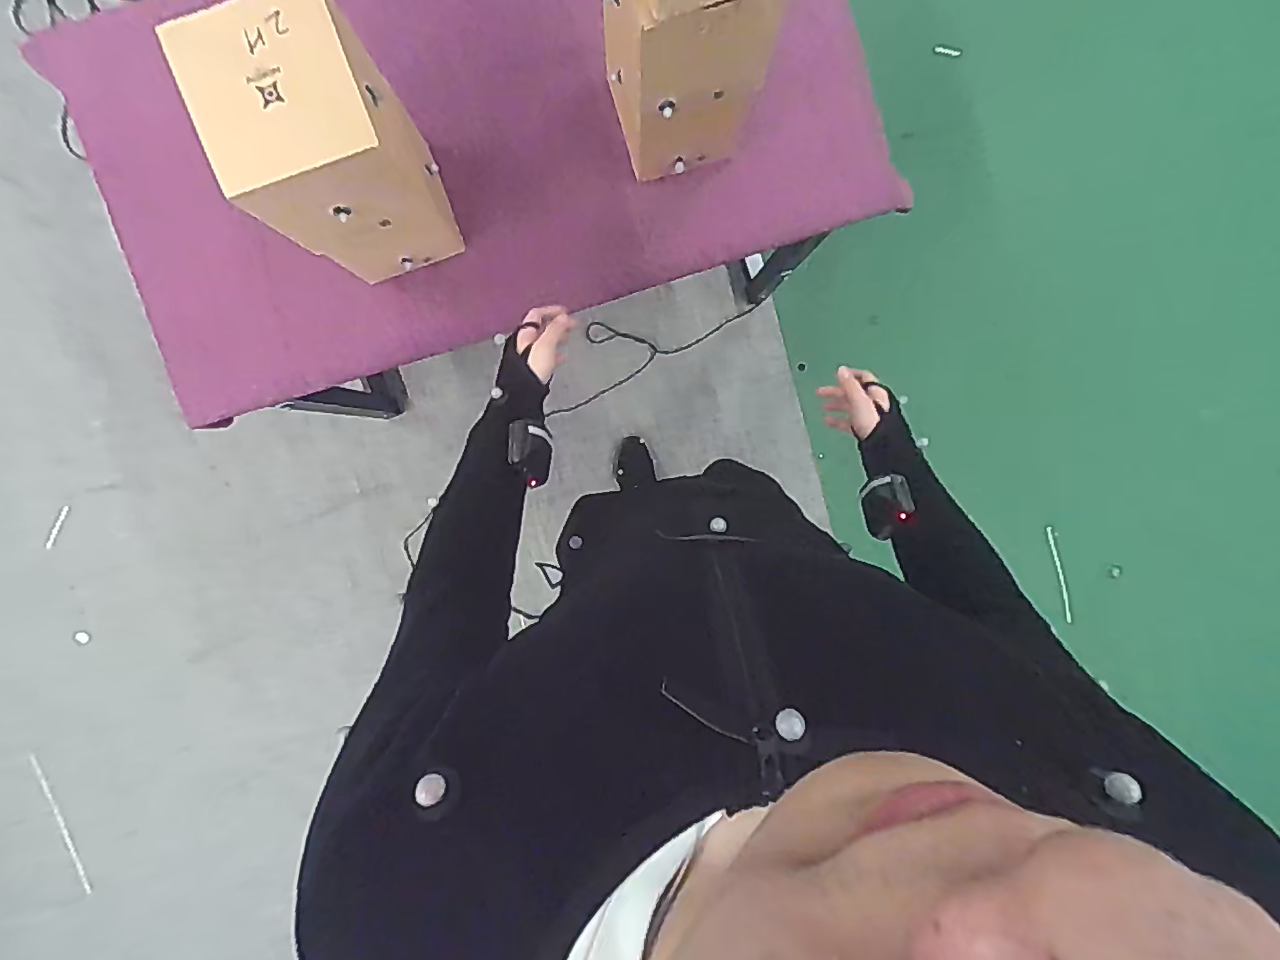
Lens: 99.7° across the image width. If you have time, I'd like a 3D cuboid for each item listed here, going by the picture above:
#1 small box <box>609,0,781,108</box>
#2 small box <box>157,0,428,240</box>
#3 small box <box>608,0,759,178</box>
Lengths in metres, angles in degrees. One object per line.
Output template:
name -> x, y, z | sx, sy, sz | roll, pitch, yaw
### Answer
small box -> 0.056, -0.564, 0.612 | 0.168, 0.176, 0.179 | -16, 92, 1
small box -> -0.367, -0.395, 0.611 | 0.168, 0.176, 0.179 | -20, 95, -1
small box -> 0.054, -0.577, 0.775 | 0.168, 0.176, 0.179 | -16, 94, 1
